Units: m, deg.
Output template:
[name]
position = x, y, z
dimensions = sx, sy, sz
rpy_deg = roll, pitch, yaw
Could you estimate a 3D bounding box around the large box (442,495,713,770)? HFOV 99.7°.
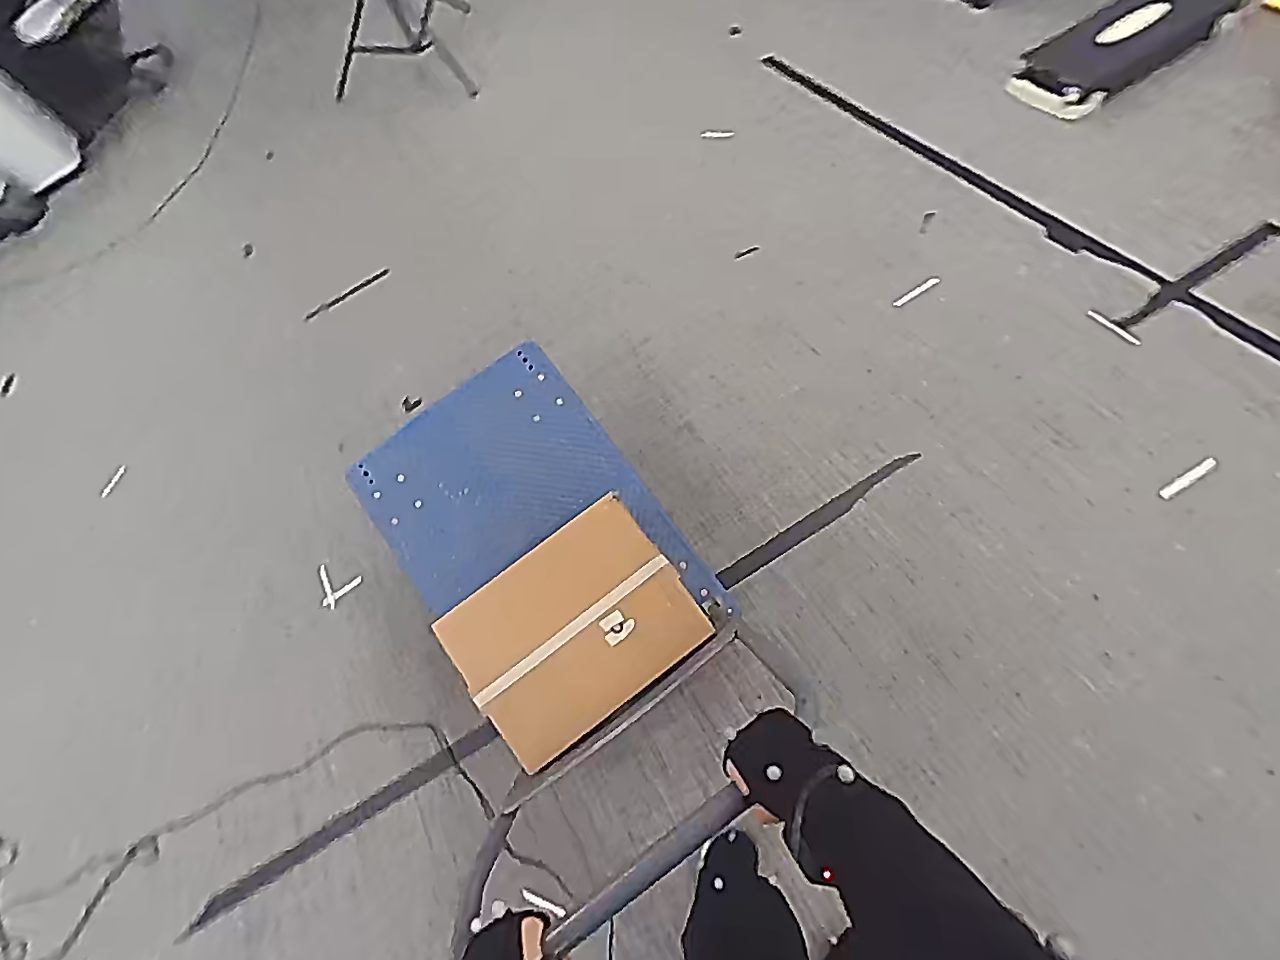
[large box]
position = -0.111, 0.293, 1.116
dimensions = 0.408, 0.320, 0.320
rpy_deg = -38, 82, -6
